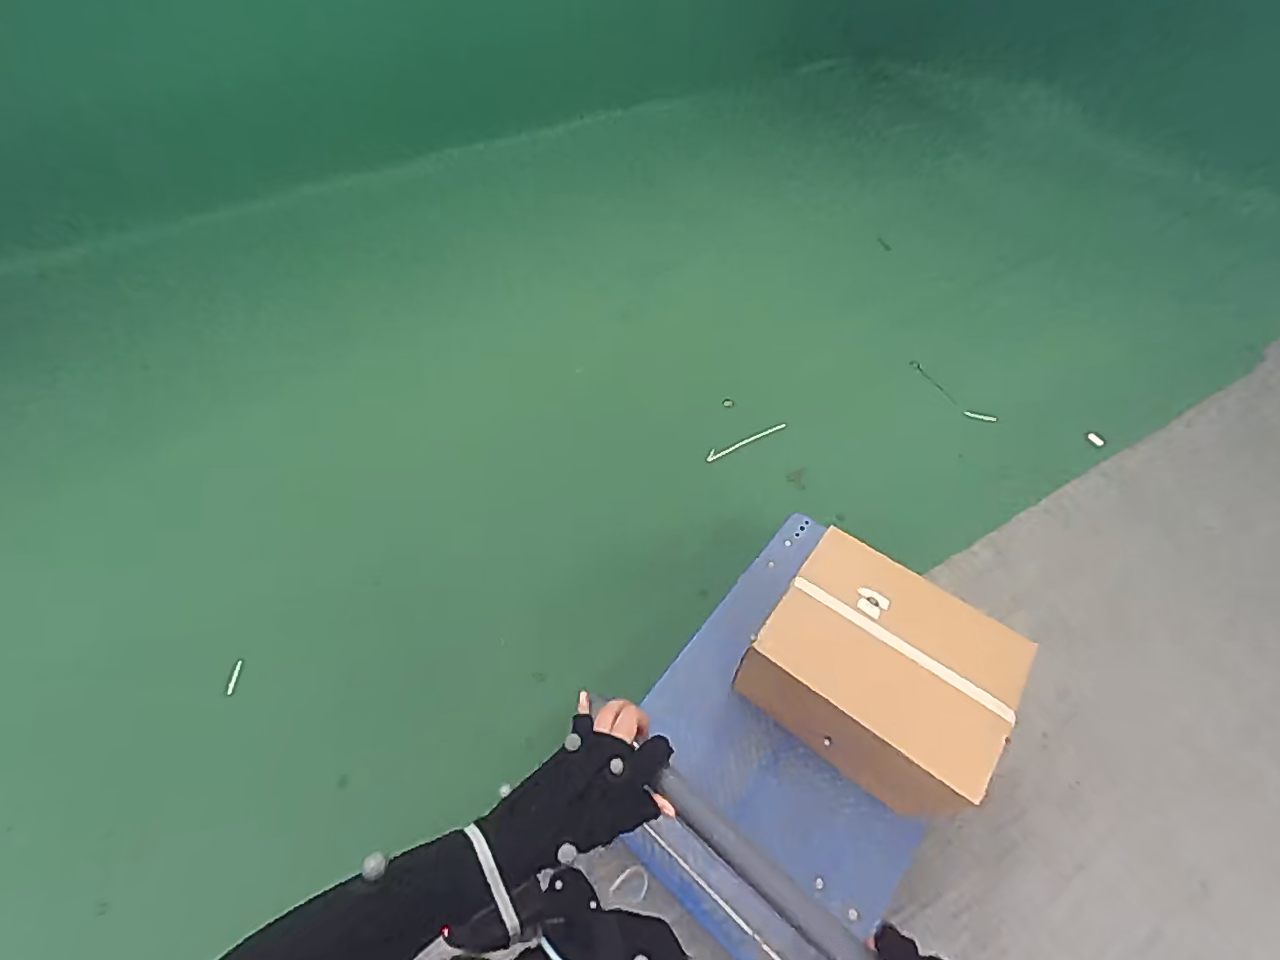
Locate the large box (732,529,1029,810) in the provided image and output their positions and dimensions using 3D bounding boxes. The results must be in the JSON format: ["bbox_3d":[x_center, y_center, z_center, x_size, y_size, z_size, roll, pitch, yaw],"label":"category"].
[{"bbox_3d":[0.443,0.376,1.078,0.408,0.320,0.320,32,62,23],"label":"large box"}]
